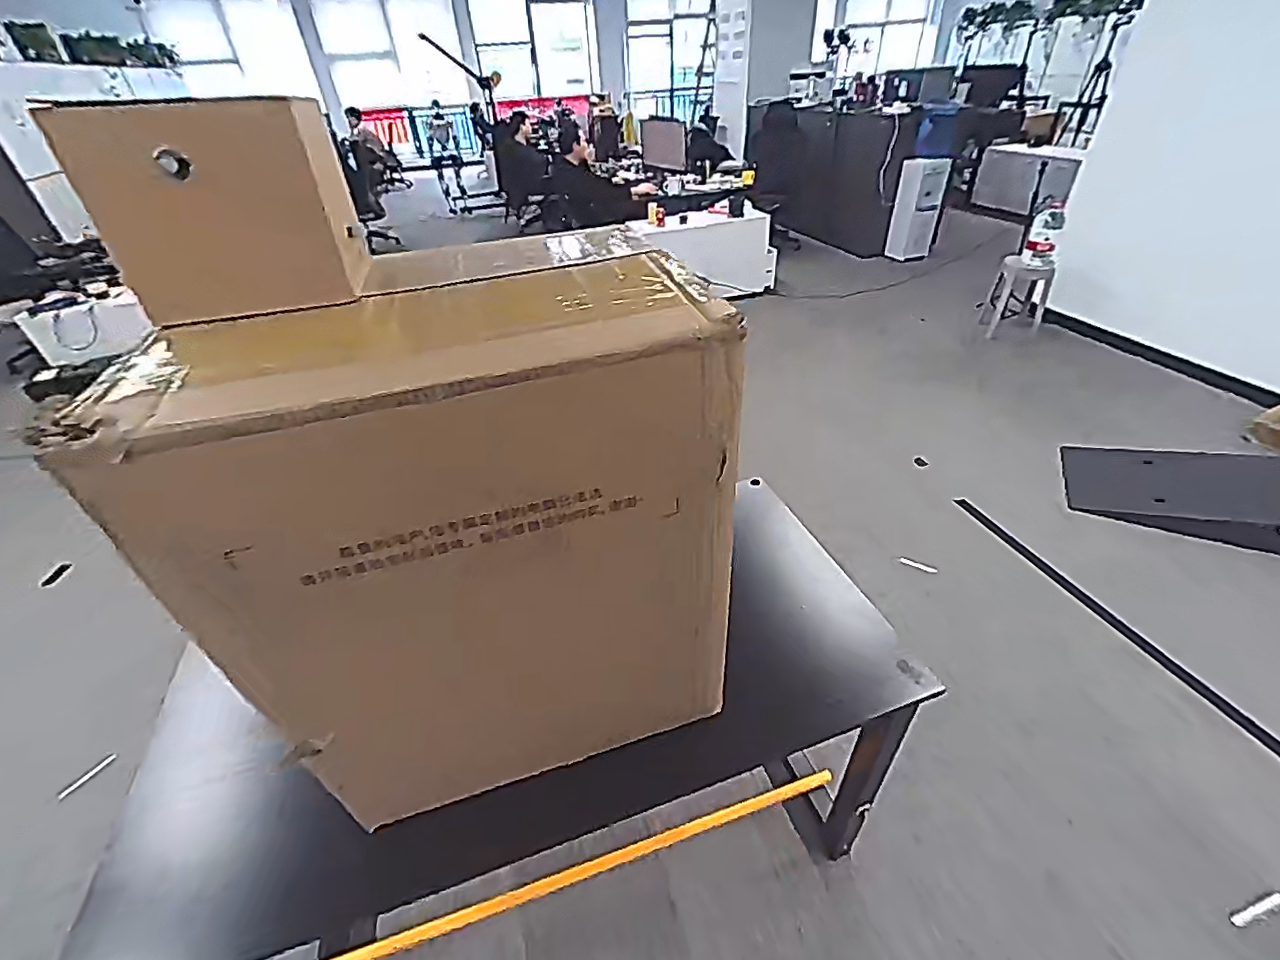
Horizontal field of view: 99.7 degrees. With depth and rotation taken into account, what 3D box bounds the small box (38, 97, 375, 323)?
[{"bbox_3d":[-0.383,-0.261,0.525,0.179,0.176,0.168,-12,36,-13],"label":"small box"}]
